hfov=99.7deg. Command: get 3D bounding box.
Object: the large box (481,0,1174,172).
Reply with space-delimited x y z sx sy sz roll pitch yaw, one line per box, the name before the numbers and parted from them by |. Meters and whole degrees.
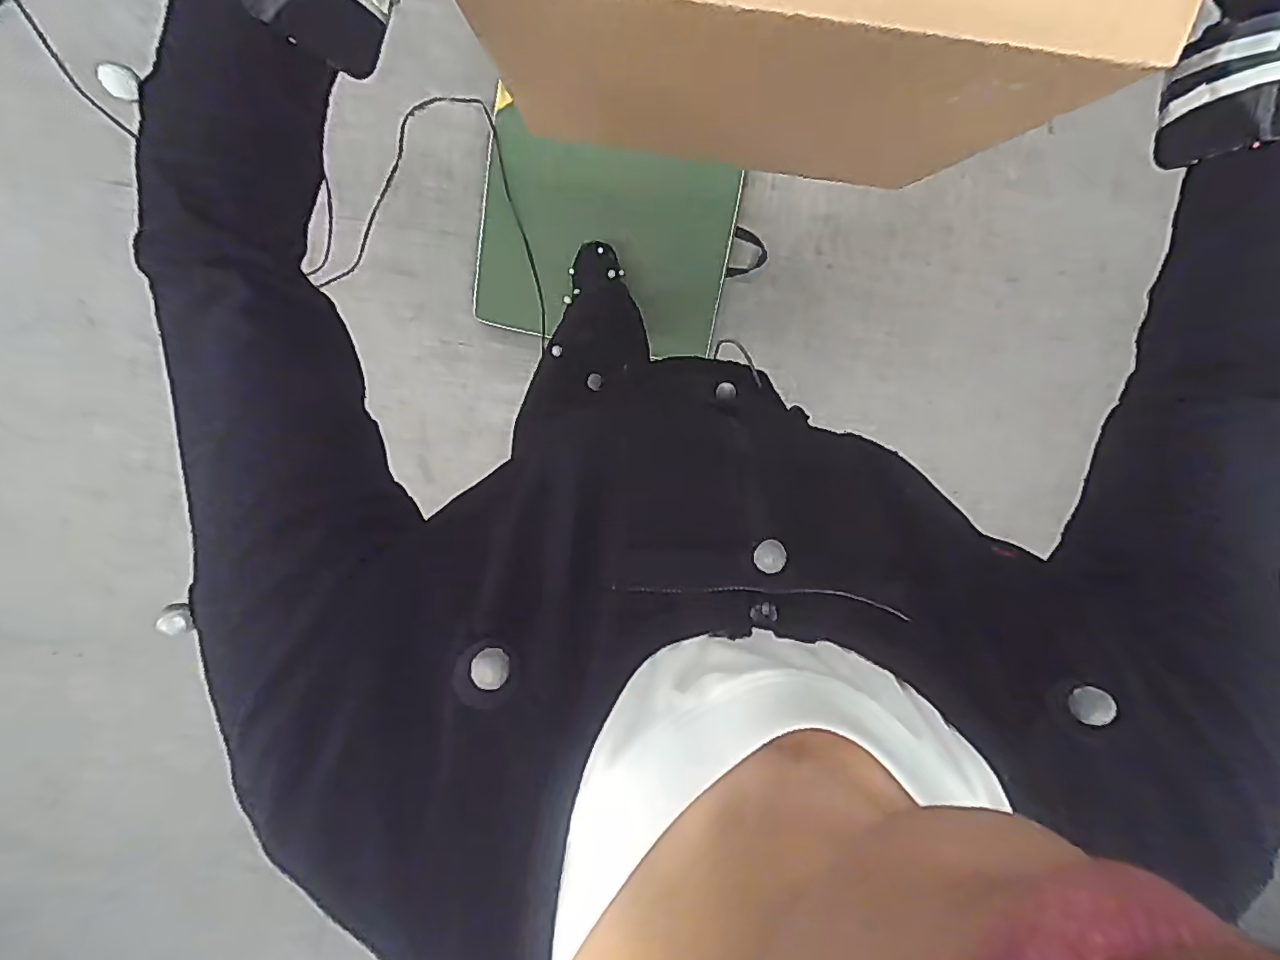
large box | 0.105 -0.450 0.392 0.408 0.320 0.320 5 108 -4
